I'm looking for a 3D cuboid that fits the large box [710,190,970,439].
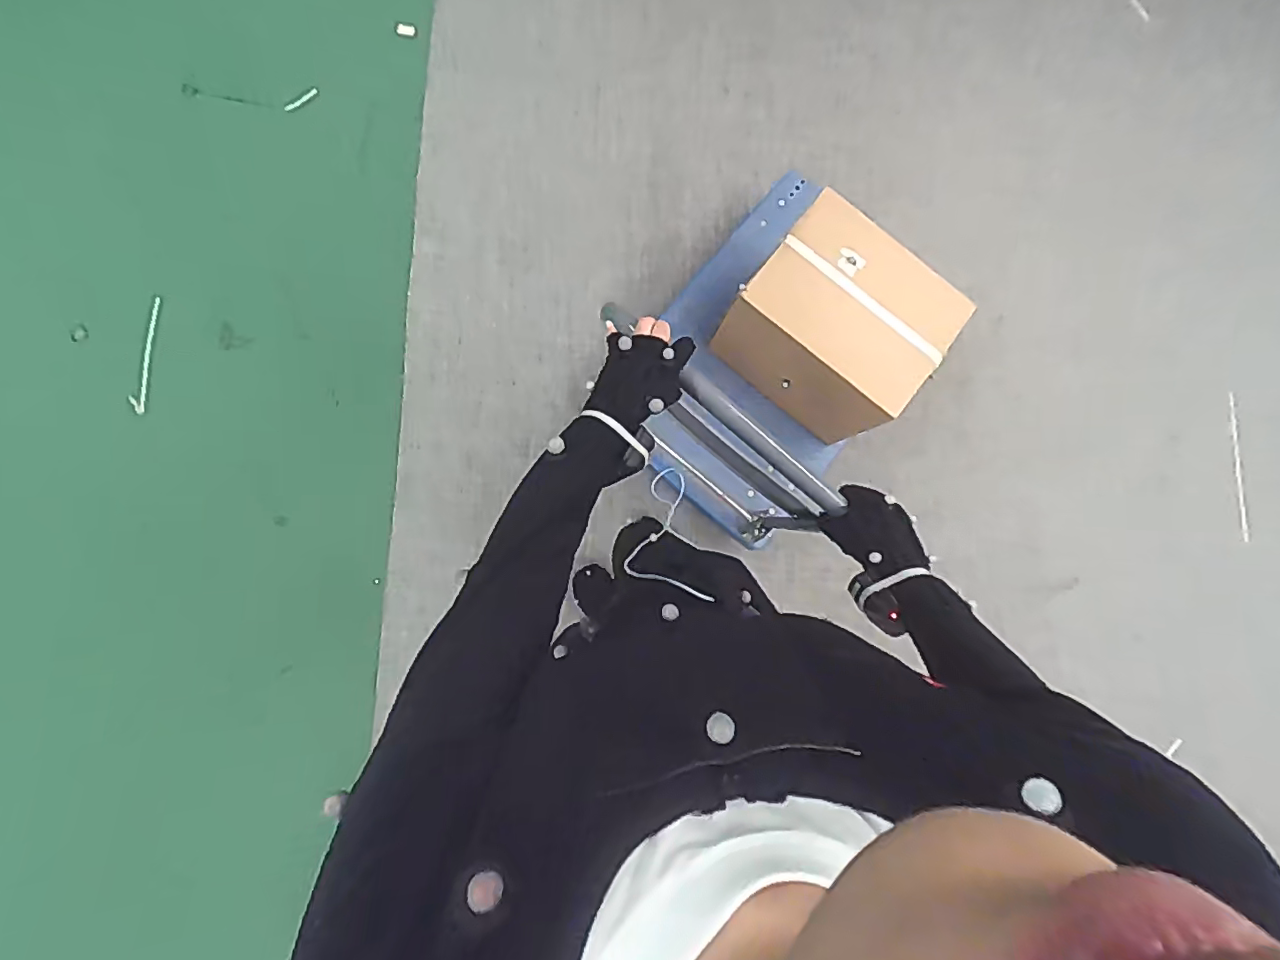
[{"bbox_3d":[0.430,-0.352,1.250,0.408,0.320,0.320,39,82,1],"label":"large box"}]
